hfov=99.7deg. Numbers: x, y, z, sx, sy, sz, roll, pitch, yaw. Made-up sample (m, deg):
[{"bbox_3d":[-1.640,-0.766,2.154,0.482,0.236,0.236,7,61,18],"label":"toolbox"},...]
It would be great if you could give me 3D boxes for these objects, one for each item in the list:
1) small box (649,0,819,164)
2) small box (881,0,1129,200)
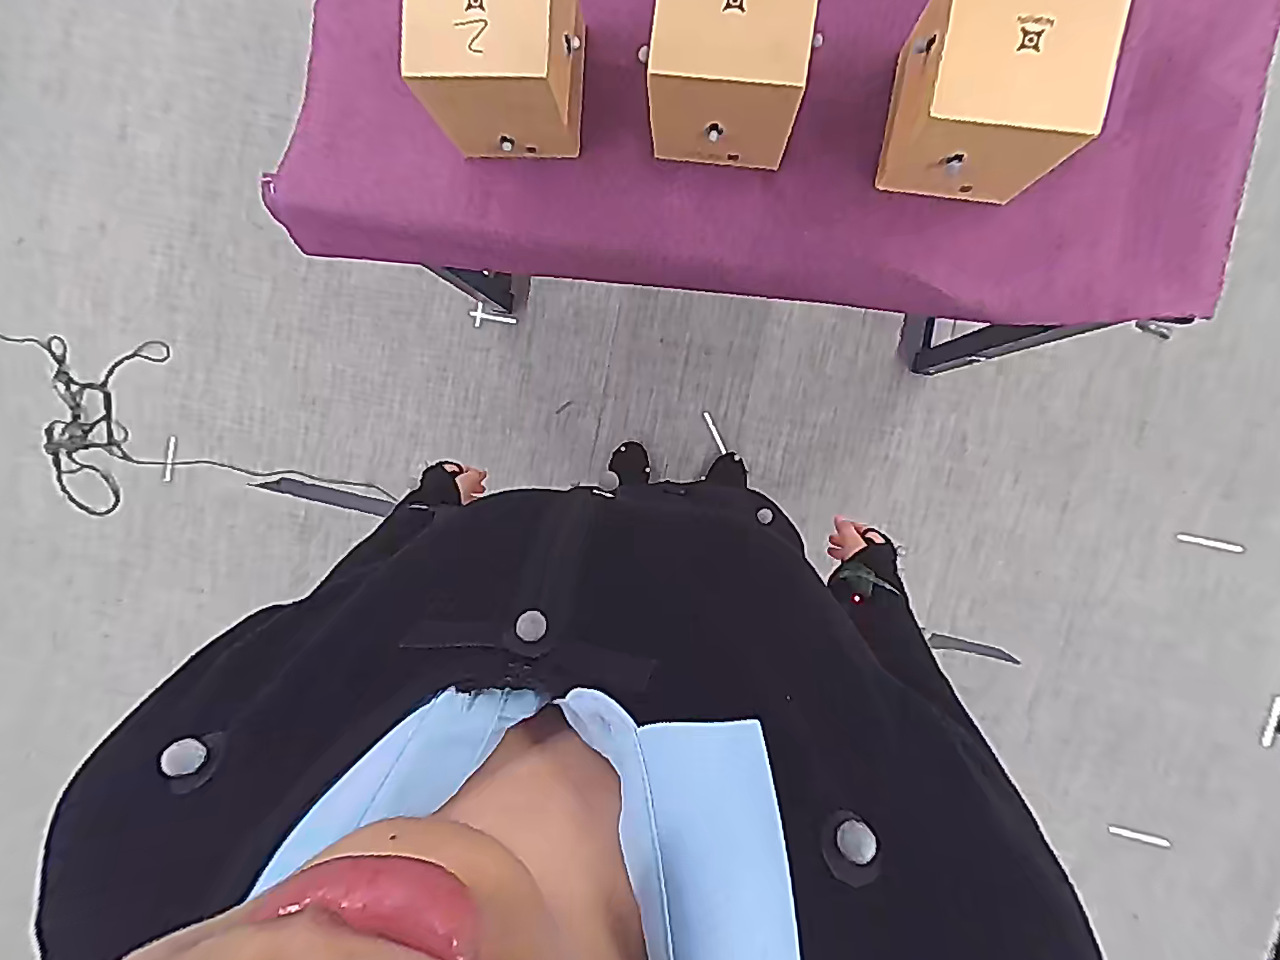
[{"bbox_3d":[0.108,-0.504,0.633,0.168,0.176,0.179,9,93,3],"label":"small box"},{"bbox_3d":[0.393,-0.445,0.613,0.168,0.176,0.179,10,95,5],"label":"small box"}]
